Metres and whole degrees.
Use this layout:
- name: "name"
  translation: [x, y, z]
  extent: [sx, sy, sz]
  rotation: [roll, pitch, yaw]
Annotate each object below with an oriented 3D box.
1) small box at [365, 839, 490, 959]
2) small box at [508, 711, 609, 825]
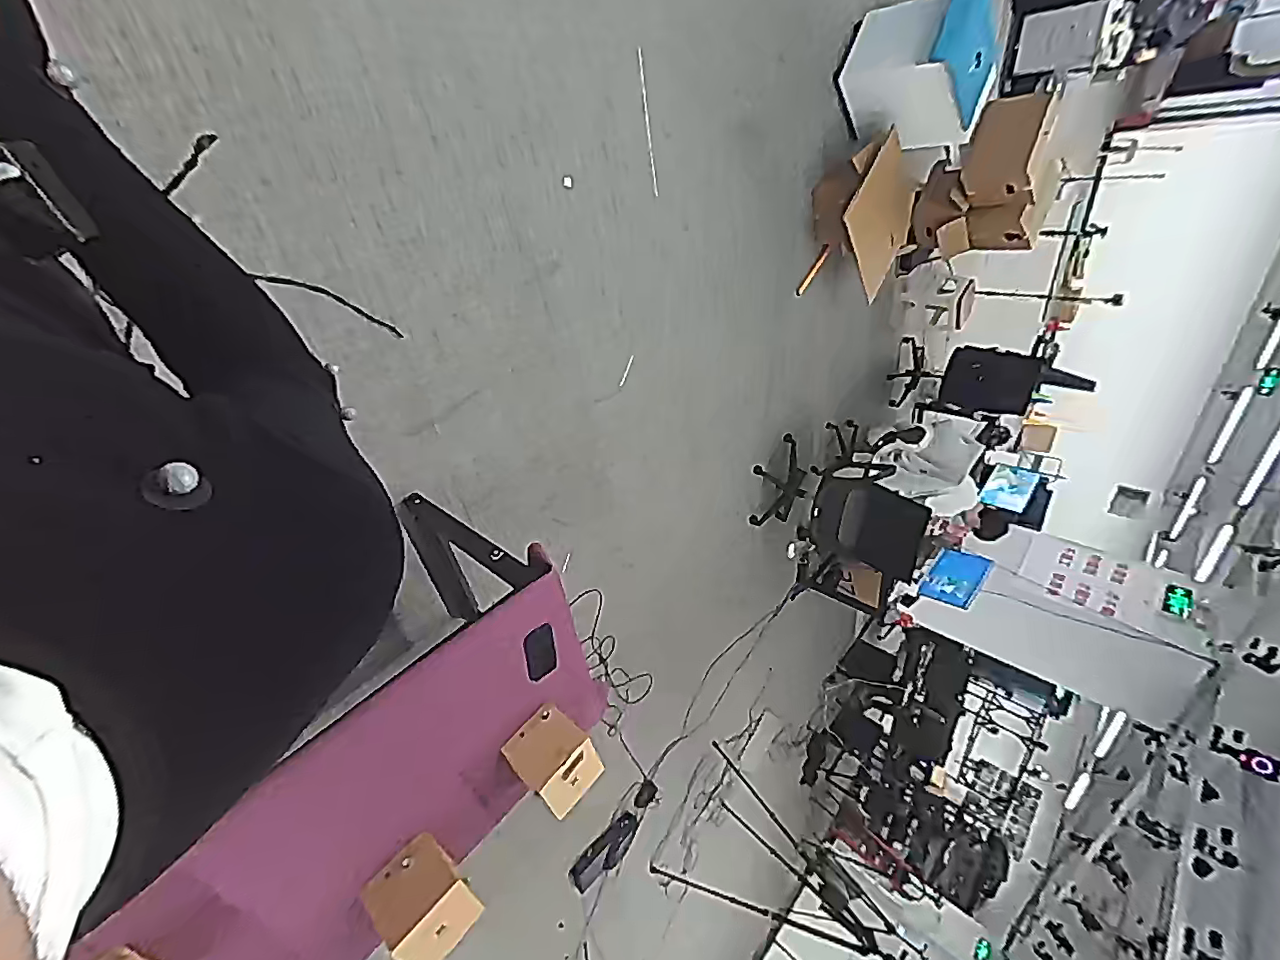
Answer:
- name: "small box"
  translation: [-0.468, 0.945, 1.194]
  extent: [0.168, 0.176, 0.179]
  rotation: [-38, 131, -33]
- name: "small box"
  translation: [-0.211, 0.728, 1.389]
  extent: [0.168, 0.176, 0.179]
  rotation: [-40, 134, -30]
